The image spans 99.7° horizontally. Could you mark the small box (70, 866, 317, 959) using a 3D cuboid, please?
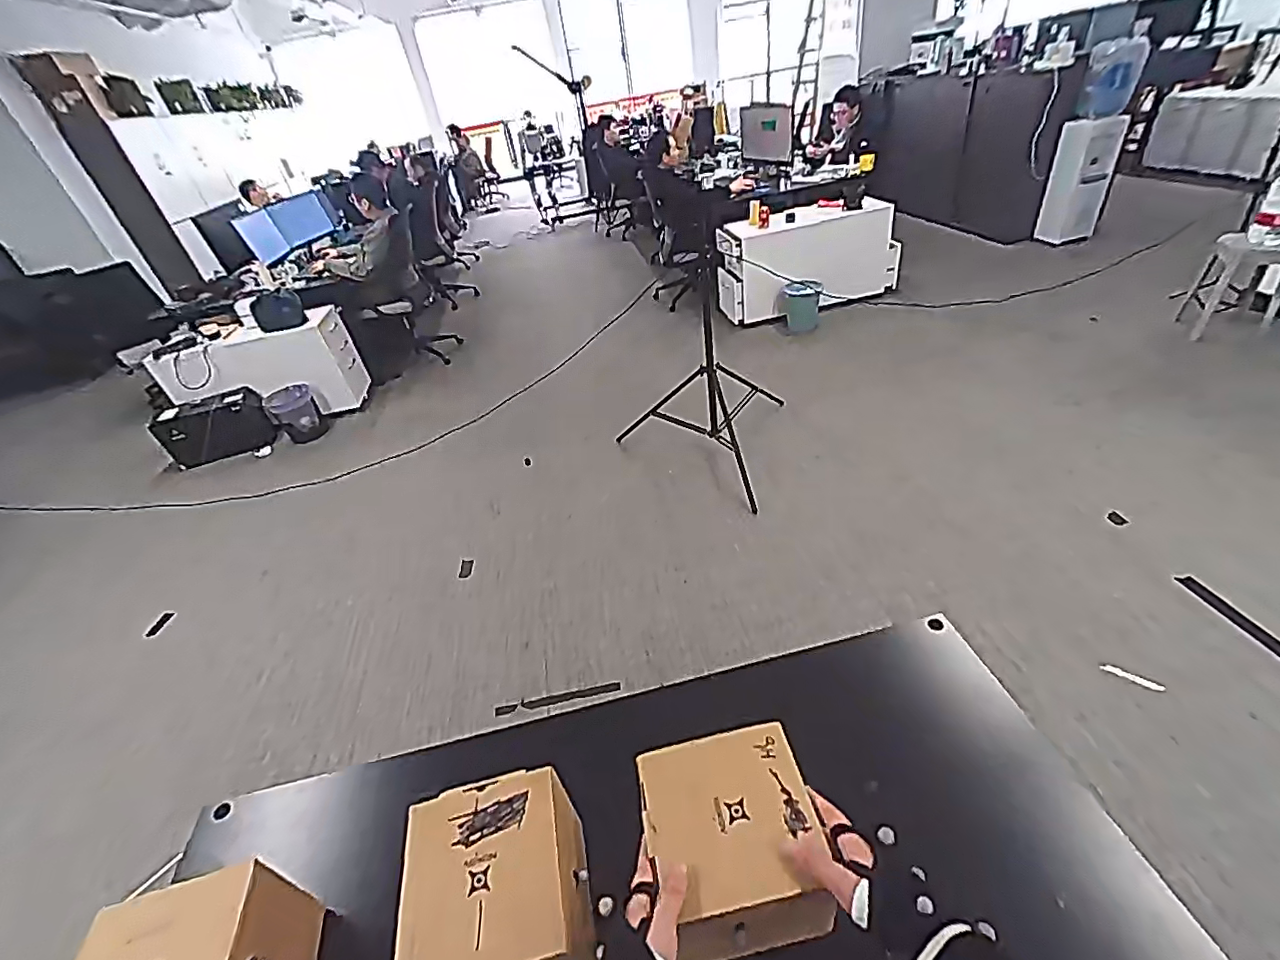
[{"bbox_3d":[-0.470,0.553,0.562,0.168,0.176,0.179,-14,36,-8],"label":"small box"}]

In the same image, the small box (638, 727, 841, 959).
[{"bbox_3d":[0.106,0.415,0.608,0.179,0.176,0.168,-12,36,-2],"label":"small box"}]

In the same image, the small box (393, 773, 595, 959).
[{"bbox_3d":[-0.150,0.468,0.597,0.168,0.176,0.179,-14,37,-5],"label":"small box"}]
